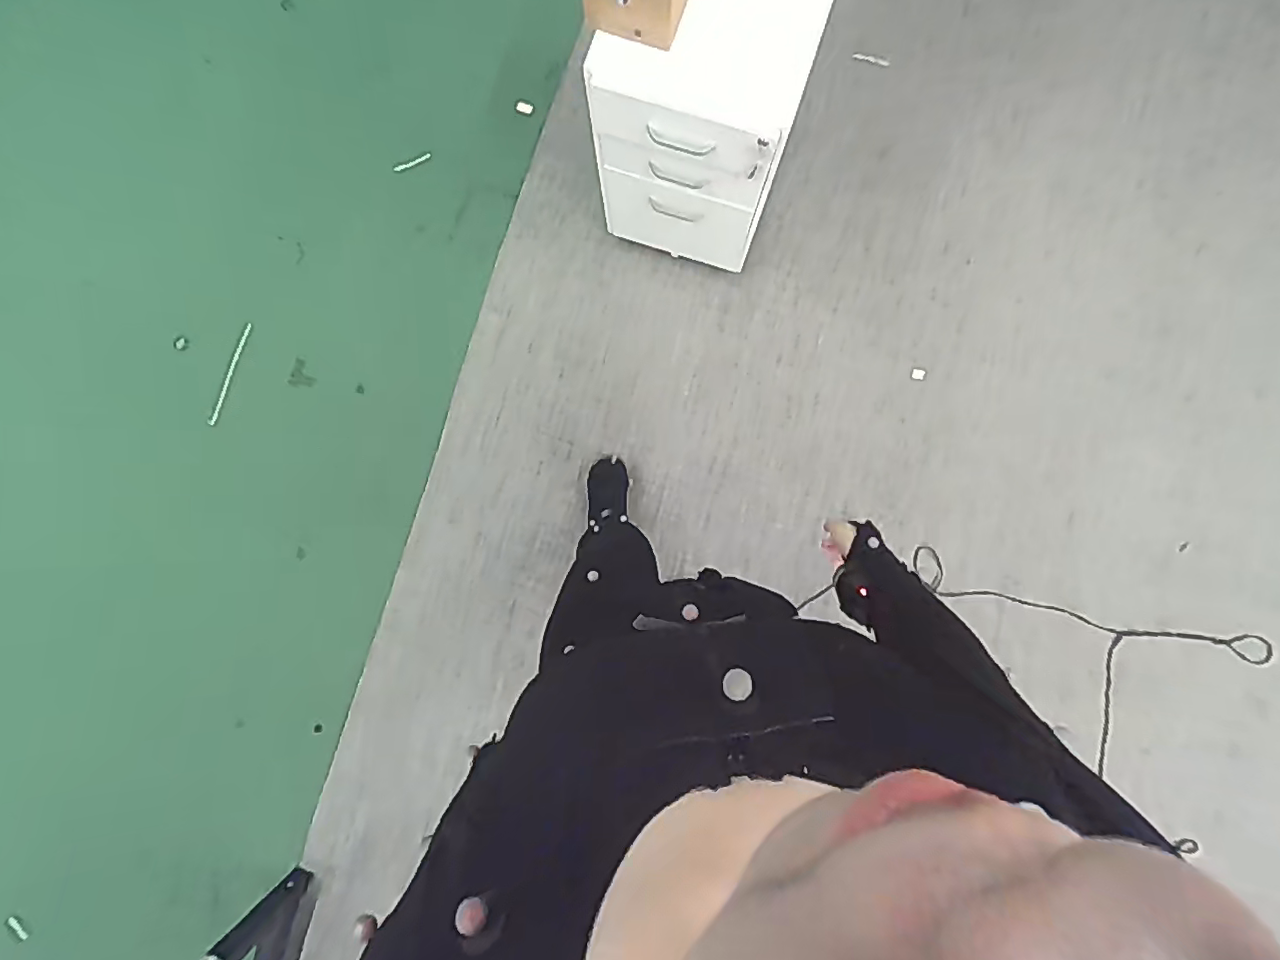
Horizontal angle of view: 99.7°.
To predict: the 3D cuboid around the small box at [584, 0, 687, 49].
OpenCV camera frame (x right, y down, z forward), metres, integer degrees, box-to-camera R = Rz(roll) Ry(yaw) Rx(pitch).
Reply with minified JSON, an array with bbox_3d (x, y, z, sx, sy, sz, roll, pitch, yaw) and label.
[{"bbox_3d":[0.002,-0.884,0.906,0.168,0.176,0.179,19,86,1],"label":"small box"}]
